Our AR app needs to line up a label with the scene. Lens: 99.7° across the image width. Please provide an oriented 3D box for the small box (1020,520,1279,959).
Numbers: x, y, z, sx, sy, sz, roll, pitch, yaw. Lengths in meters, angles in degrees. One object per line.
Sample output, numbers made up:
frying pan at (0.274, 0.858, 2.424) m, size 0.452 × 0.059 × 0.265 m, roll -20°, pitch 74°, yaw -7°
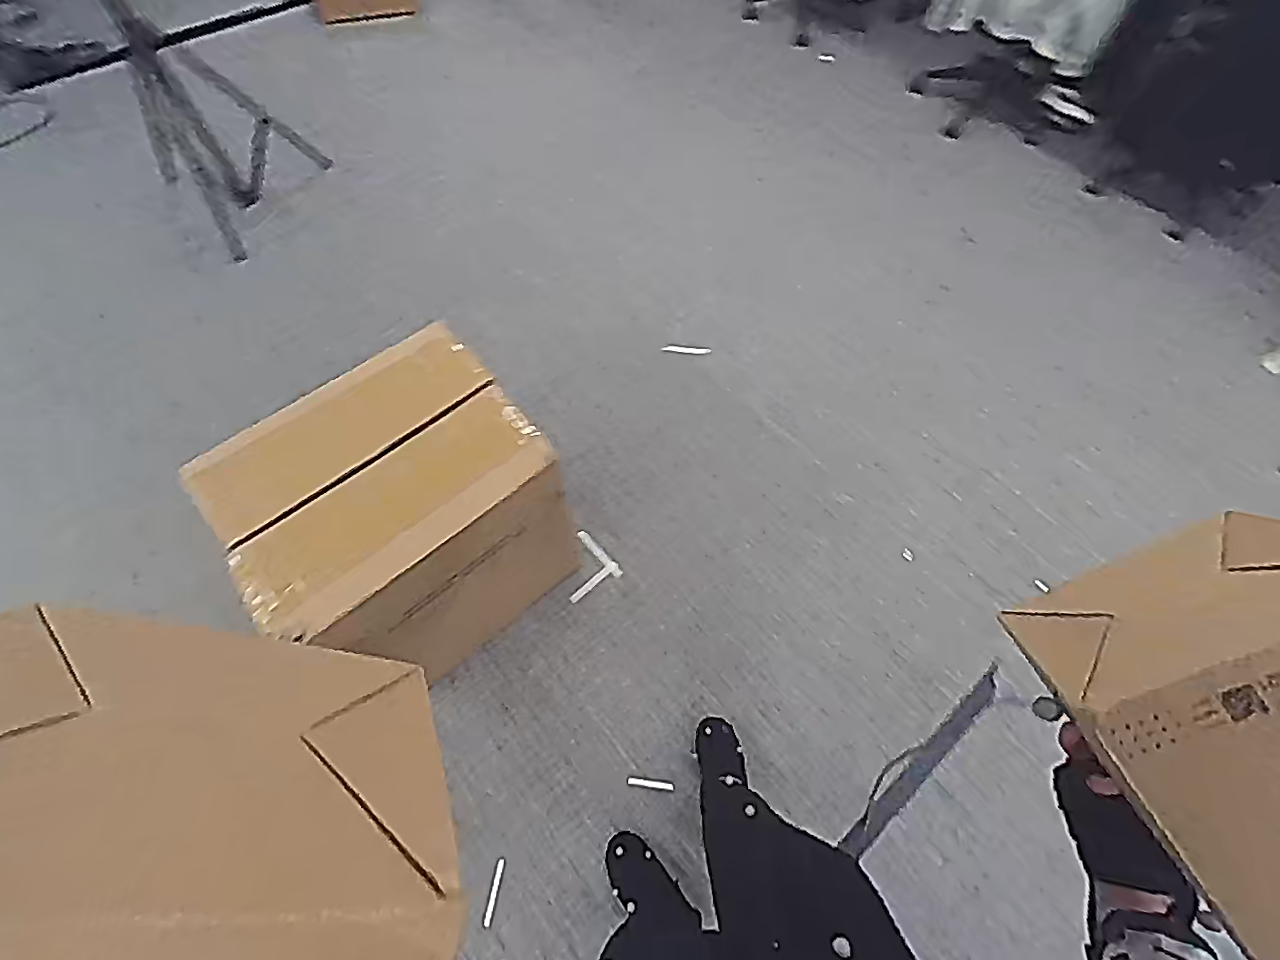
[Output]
small box at (0.362, 0.136, 0.307) m, size 0.168 × 0.179 × 0.176 m, roll -35°, pitch 80°, yaw 20°
